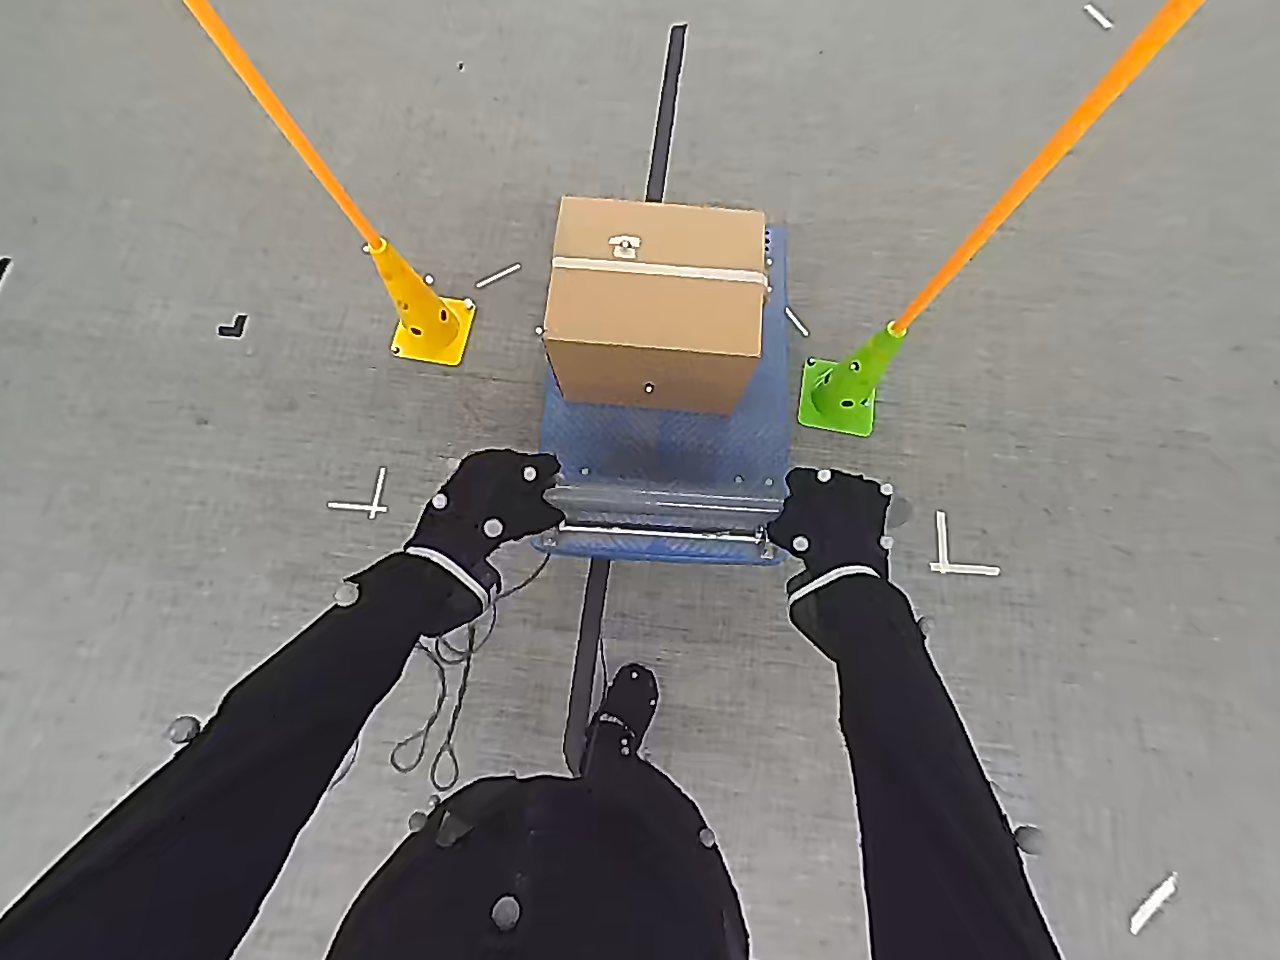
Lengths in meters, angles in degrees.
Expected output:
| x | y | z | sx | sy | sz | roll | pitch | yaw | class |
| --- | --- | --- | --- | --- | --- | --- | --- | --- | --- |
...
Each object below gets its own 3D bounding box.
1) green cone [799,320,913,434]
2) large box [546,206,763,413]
| x | y | z | sx | sy | sz | roll | pitch | yaw | class |
| --- | --- | --- | --- | --- | --- | --- | --- | --- | --- |
| 0.544 | -0.272 | 1.307 | 0.202 | 0.368 | 0.200 | 11 | 76 | 1 | green cone |
| 0.037 | -0.349 | 1.178 | 0.408 | 0.320 | 0.320 | 5 | 77 | 2 | large box |
